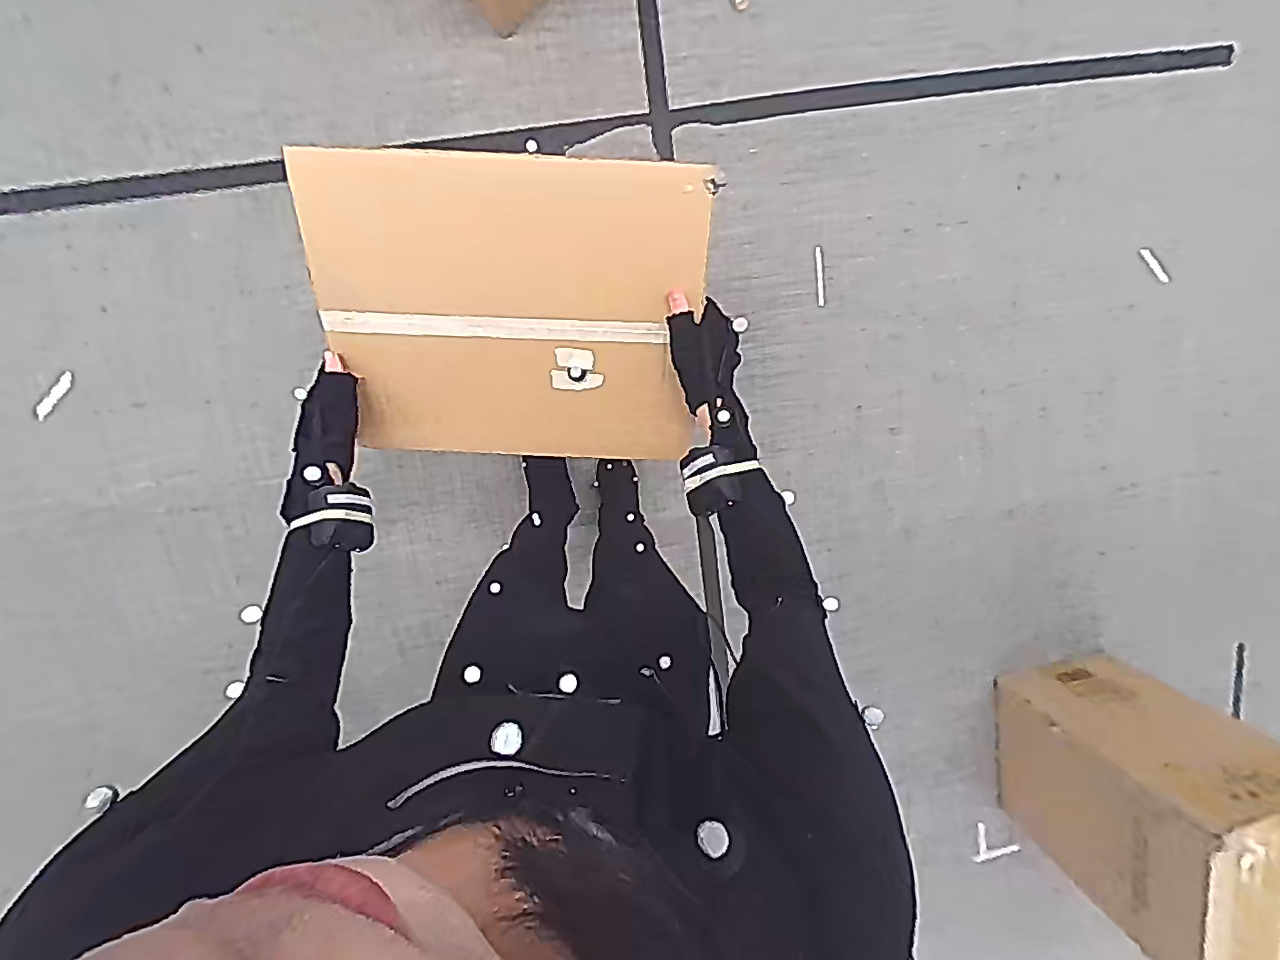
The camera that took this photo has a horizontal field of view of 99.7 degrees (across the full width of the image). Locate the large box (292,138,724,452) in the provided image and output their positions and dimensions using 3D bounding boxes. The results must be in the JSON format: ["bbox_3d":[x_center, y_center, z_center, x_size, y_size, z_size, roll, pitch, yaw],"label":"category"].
[{"bbox_3d":[-0.126,-0.243,0.694,0.408,0.320,0.320,2,121,-1],"label":"large box"}]
